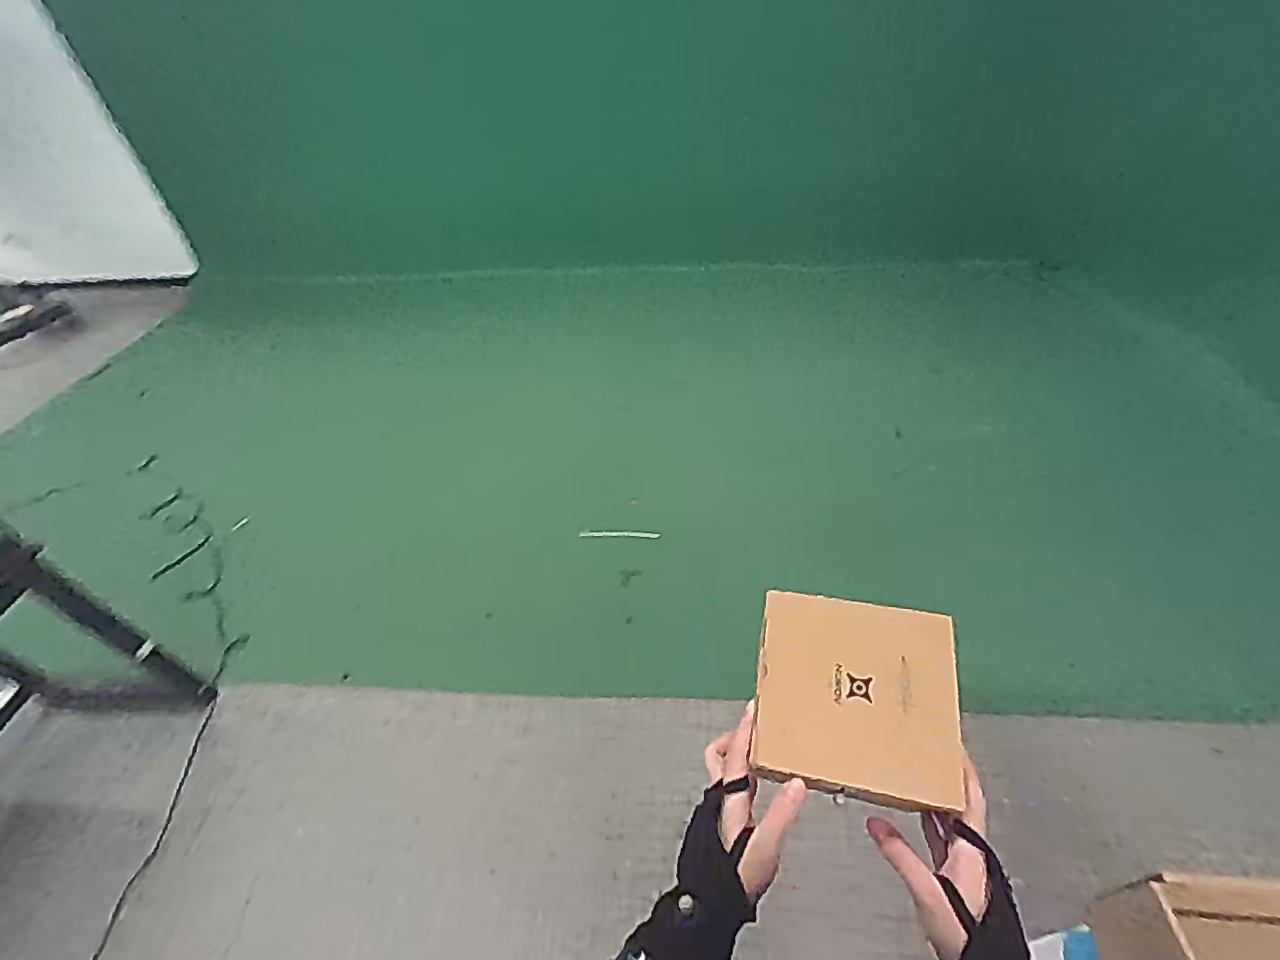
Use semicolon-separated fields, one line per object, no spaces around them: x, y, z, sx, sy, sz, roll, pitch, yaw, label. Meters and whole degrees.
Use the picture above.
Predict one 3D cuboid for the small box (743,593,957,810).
0.206;0.234;0.565;0.179;0.176;0.168;6;60;14;small box
